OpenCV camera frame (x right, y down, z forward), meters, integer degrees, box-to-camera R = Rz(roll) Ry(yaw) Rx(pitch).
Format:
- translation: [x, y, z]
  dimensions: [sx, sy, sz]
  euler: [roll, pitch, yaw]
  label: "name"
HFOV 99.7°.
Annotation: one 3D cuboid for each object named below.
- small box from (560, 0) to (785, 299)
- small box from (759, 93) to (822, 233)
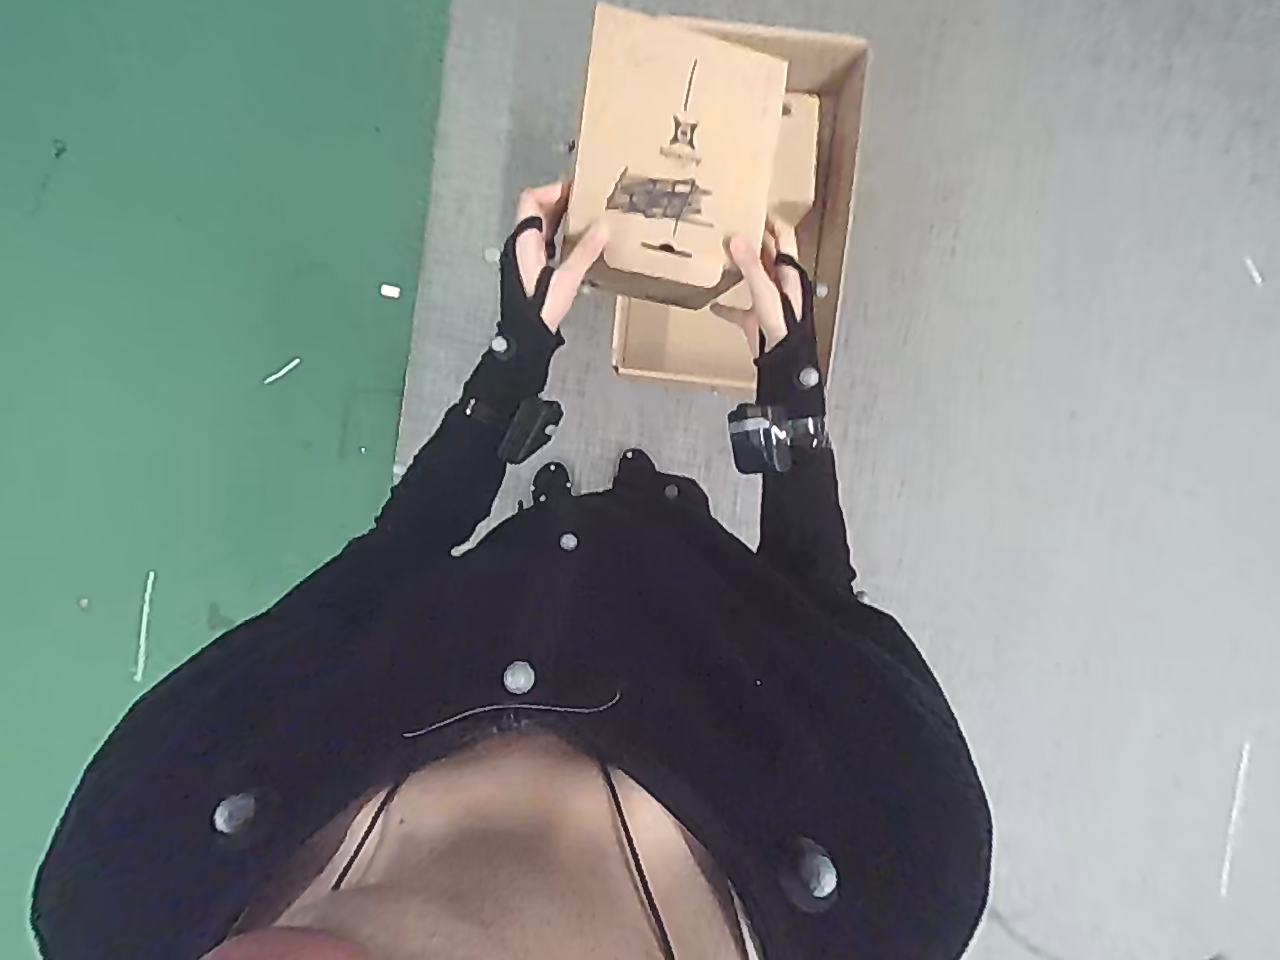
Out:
- translation: [0.015, -0.287, 0.518]
  dimensions: [0.168, 0.176, 0.179]
  euler: [6, 94, -12]
  label: "small box"
- translation: [0.219, -0.570, 0.991]
  dimensions: [0.168, 0.176, 0.179]
  euler: [2, 95, -1]
  label: "small box"
